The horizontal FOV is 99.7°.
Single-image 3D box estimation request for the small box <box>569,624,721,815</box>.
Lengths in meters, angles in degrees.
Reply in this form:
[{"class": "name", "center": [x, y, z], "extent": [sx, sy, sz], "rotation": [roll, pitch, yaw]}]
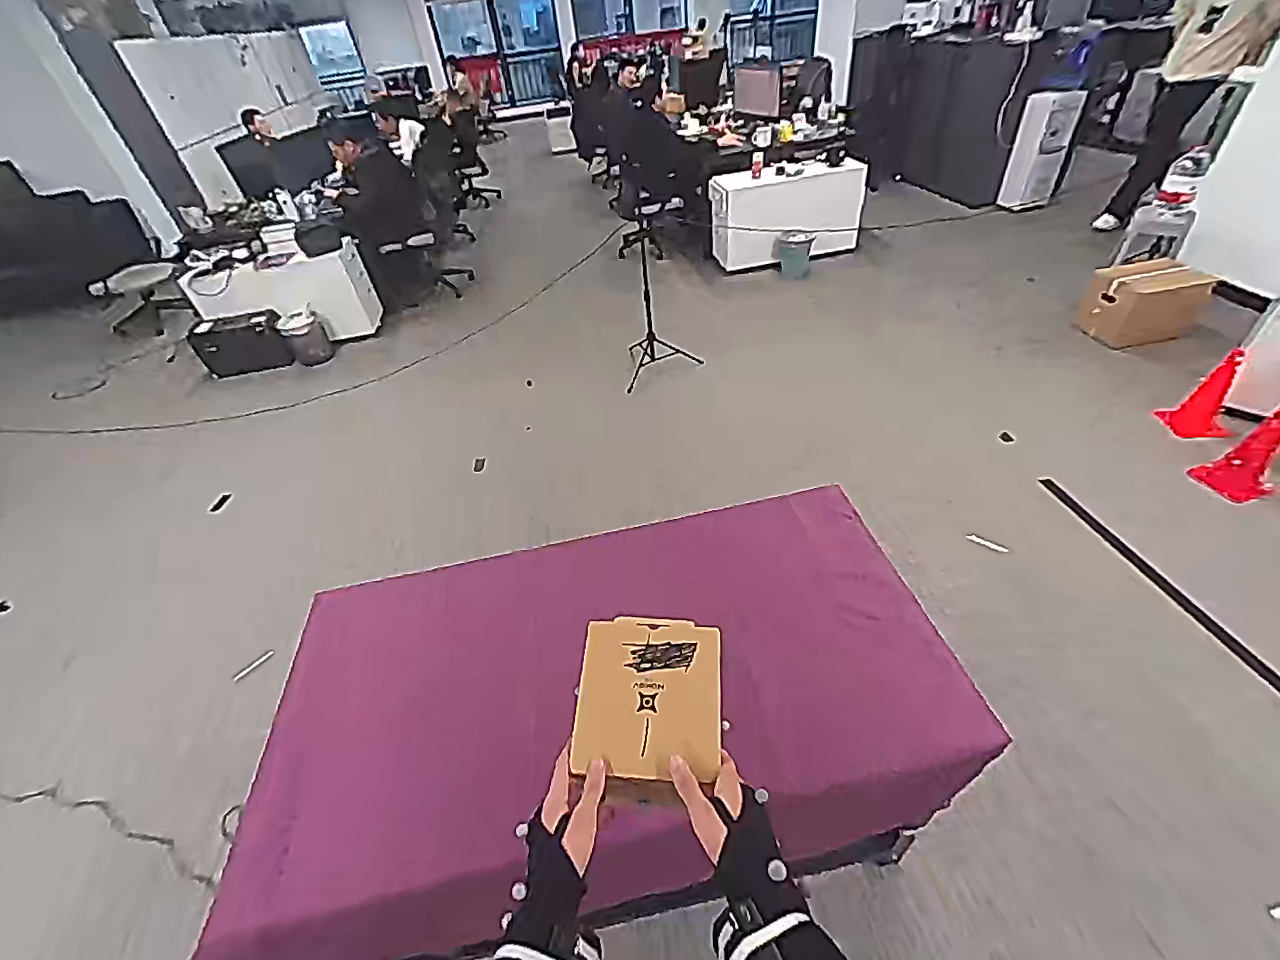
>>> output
[{"class": "small box", "center": [0.014, 0.304, 0.687], "extent": [0.168, 0.176, 0.179], "rotation": [2, 50, 5]}]
